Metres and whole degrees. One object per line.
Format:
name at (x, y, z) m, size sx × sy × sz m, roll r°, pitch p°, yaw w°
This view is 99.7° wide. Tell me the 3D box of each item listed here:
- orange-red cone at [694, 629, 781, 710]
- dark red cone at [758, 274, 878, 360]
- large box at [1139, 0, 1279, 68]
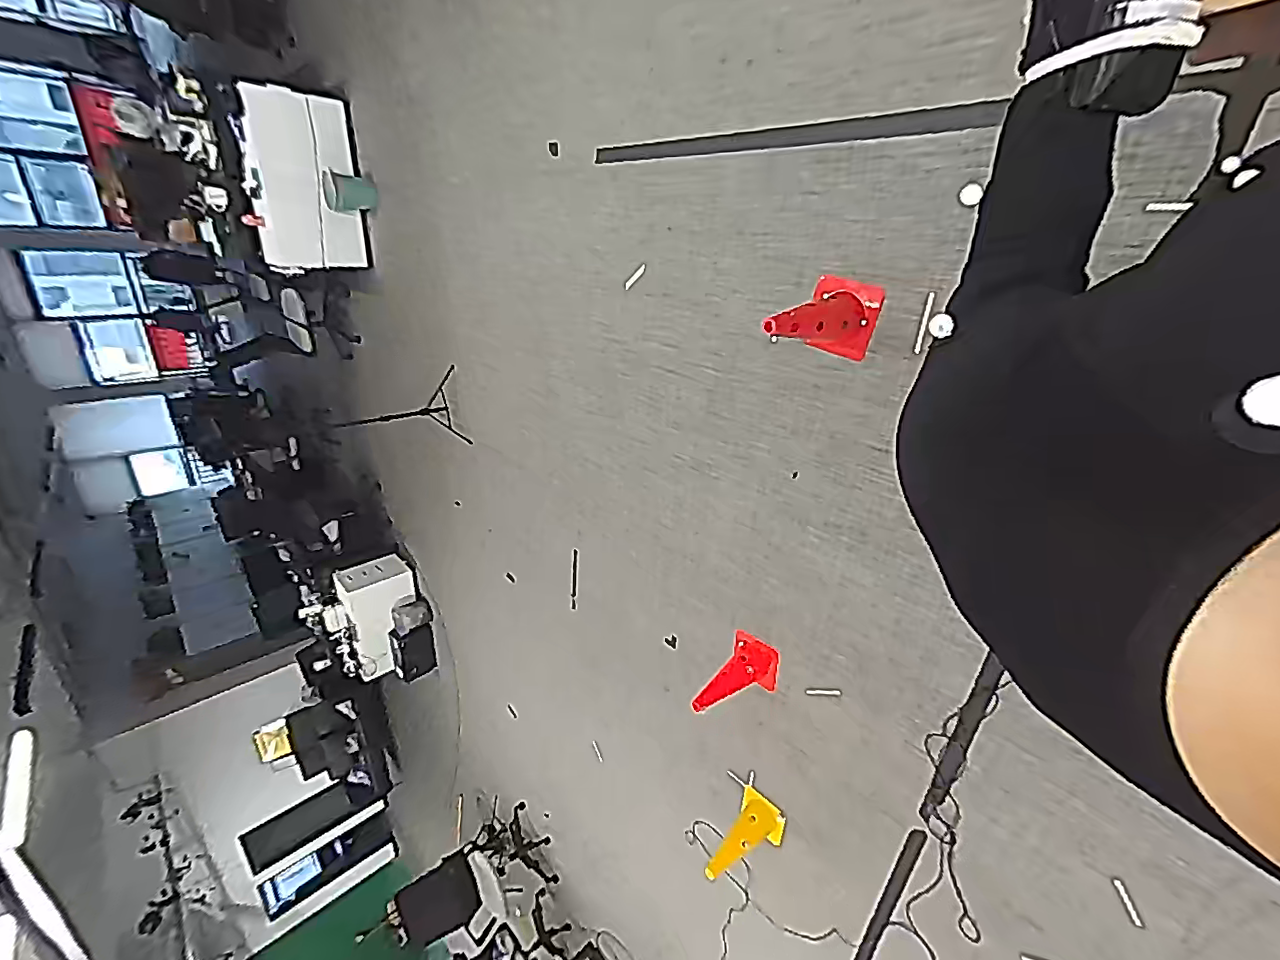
orange-red cone at (0.331, 0.740, 1.986) m, size 0.198 × 0.360 × 0.199 m, roll 24°, pitch 123°, yaw 43°
dark red cone at (0.427, -0.411, 1.387) m, size 0.201 × 0.394 × 0.202 m, roll 31°, pitch 126°, yaw 36°
large box at (0.549, -0.451, 0.251) m, size 0.408 × 0.320 × 0.320 m, roll 17°, pitch 125°, yaw 43°
